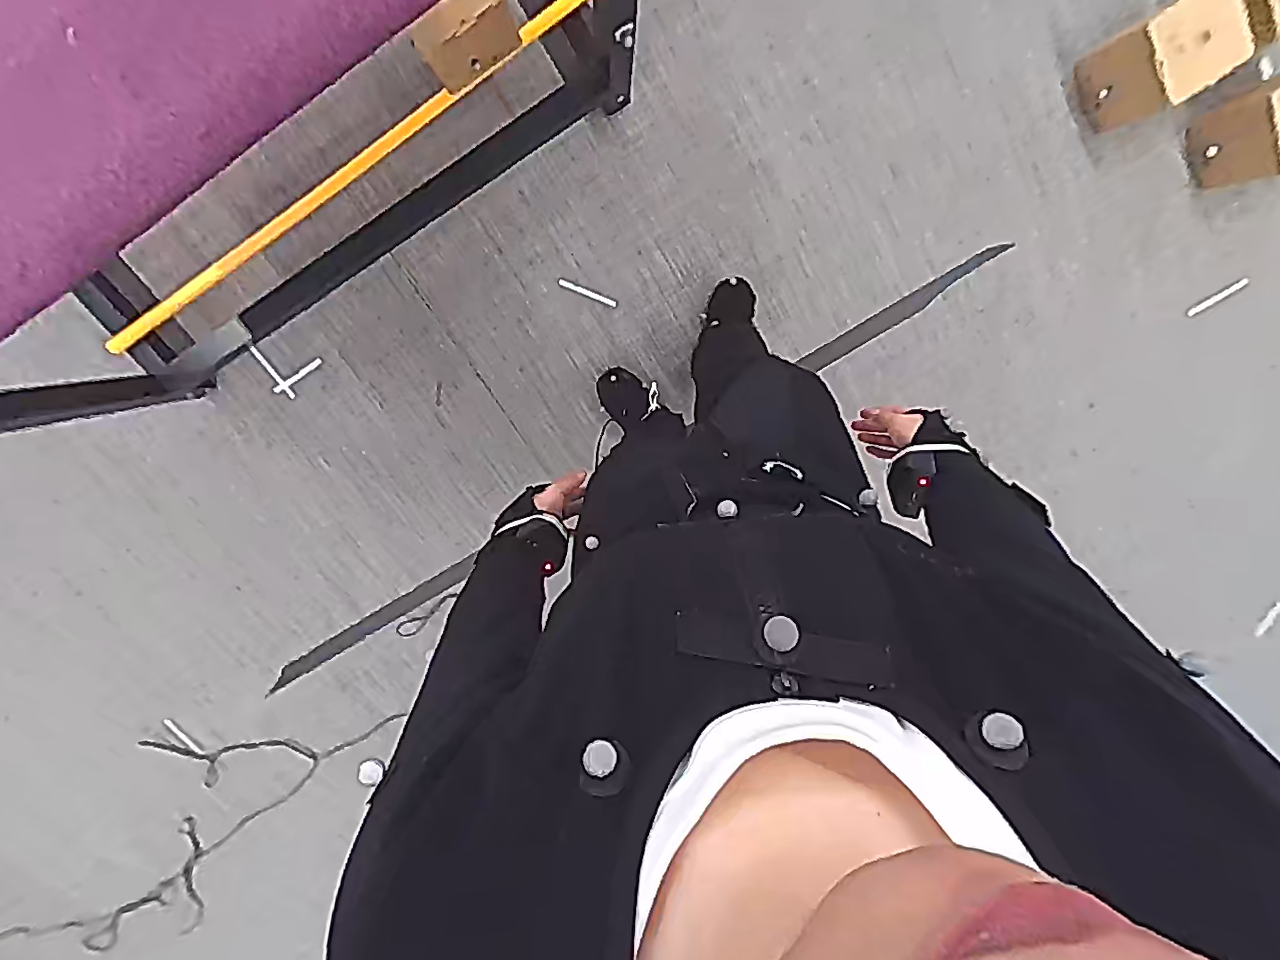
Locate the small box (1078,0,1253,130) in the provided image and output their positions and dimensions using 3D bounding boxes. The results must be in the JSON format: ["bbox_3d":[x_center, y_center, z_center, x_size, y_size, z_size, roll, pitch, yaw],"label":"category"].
[{"bbox_3d":[1.058,-0.863,1.101,0.179,0.176,0.168,-32,105,6],"label":"small box"}]

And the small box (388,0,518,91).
[{"bbox_3d":[-0.330,-0.813,0.911,0.168,0.176,0.179,-32,107,7],"label":"small box"}]

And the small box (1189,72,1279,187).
[{"bbox_3d":[1.345,-0.761,1.150,0.179,0.176,0.168,-29,106,6],"label":"small box"}]
